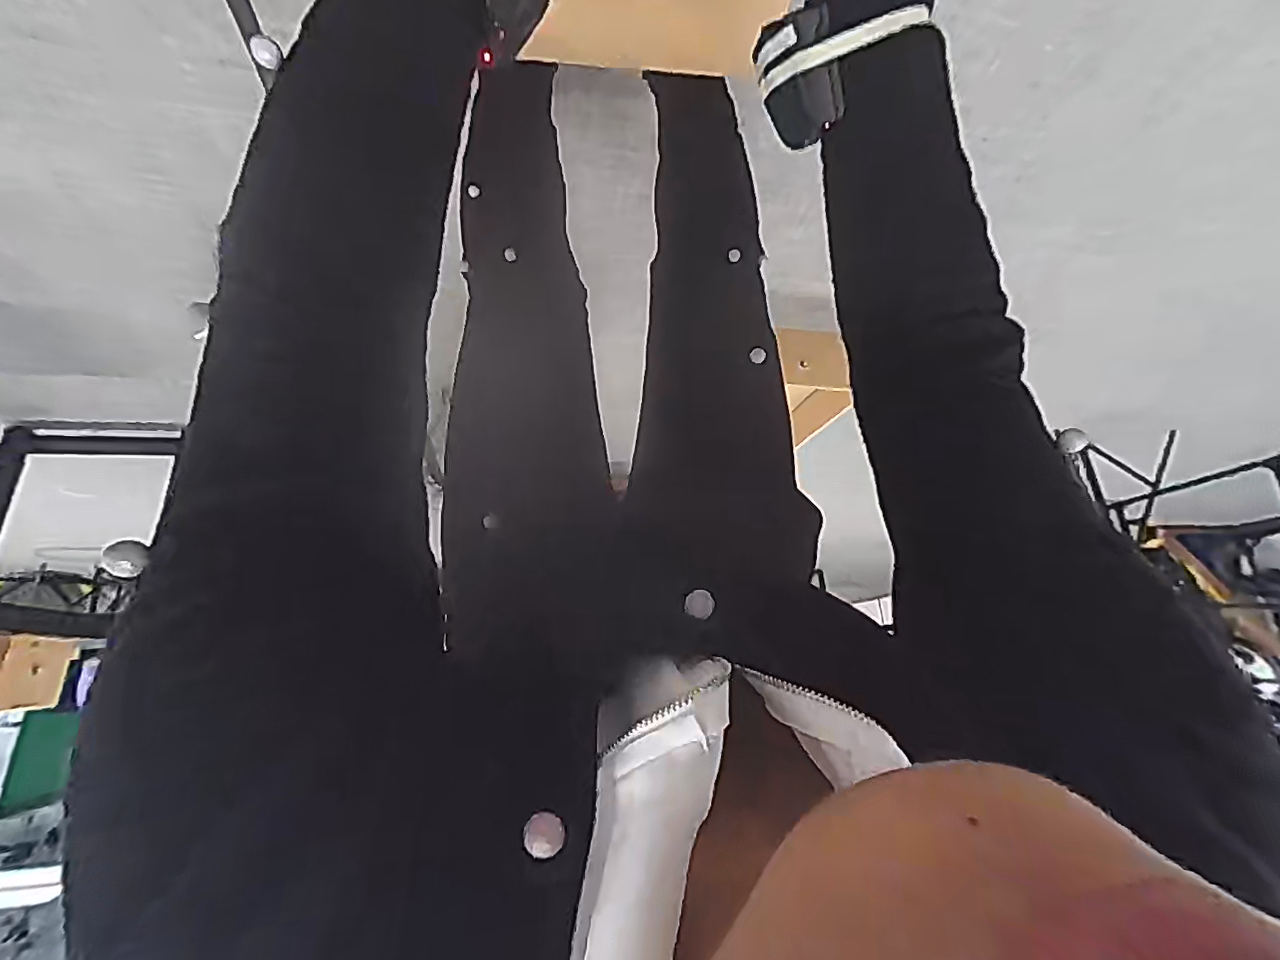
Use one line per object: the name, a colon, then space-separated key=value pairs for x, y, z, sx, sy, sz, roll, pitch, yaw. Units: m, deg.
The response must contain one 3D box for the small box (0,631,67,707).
small box: x=-1.544 y=0.456 z=1.295 sx=0.179 sy=0.176 sz=0.168 roll=-2 pitch=161 yaw=-5
